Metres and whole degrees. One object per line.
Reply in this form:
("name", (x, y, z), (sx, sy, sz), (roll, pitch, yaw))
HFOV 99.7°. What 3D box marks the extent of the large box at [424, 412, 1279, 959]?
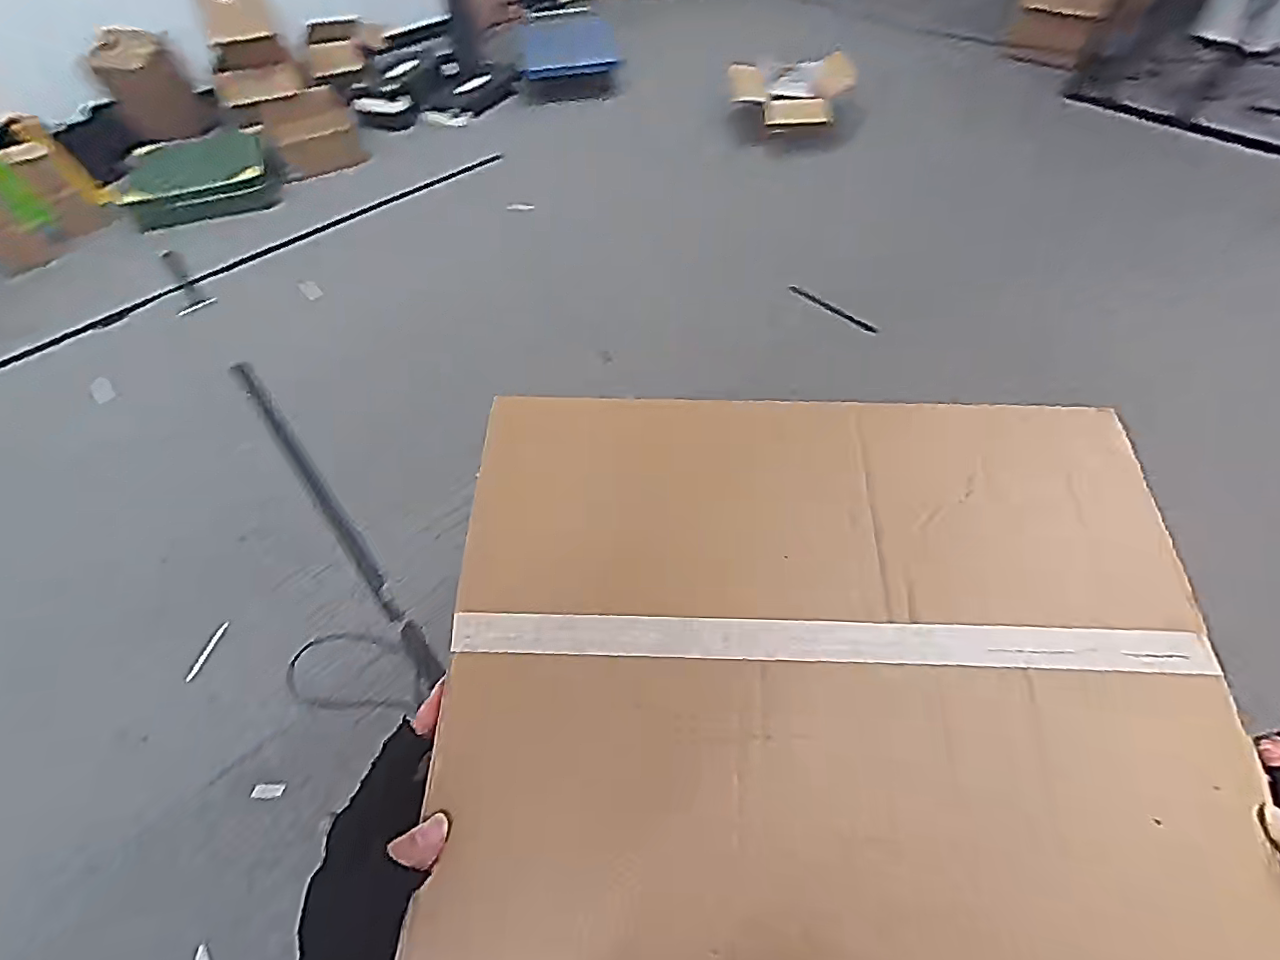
("large box", (0.097, 0.160, 0.441), (0.408, 0.320, 0.320), (-1, 65, 2))
